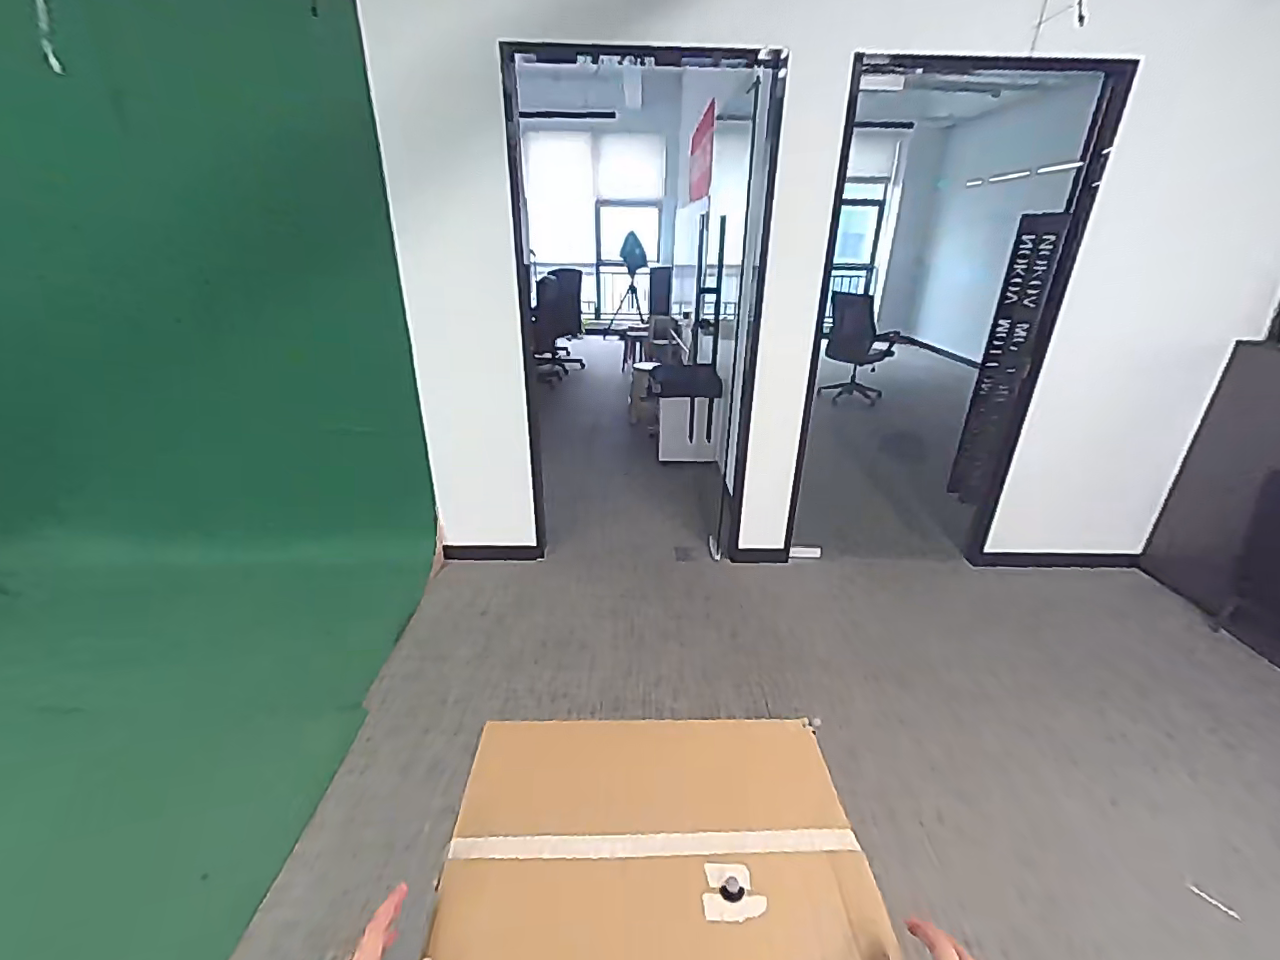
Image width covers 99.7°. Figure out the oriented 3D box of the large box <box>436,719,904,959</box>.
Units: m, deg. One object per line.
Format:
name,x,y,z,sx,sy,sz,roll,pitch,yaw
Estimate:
large box,0.016,0.501,0.600,0.408,0.320,0.320,1,24,-3
